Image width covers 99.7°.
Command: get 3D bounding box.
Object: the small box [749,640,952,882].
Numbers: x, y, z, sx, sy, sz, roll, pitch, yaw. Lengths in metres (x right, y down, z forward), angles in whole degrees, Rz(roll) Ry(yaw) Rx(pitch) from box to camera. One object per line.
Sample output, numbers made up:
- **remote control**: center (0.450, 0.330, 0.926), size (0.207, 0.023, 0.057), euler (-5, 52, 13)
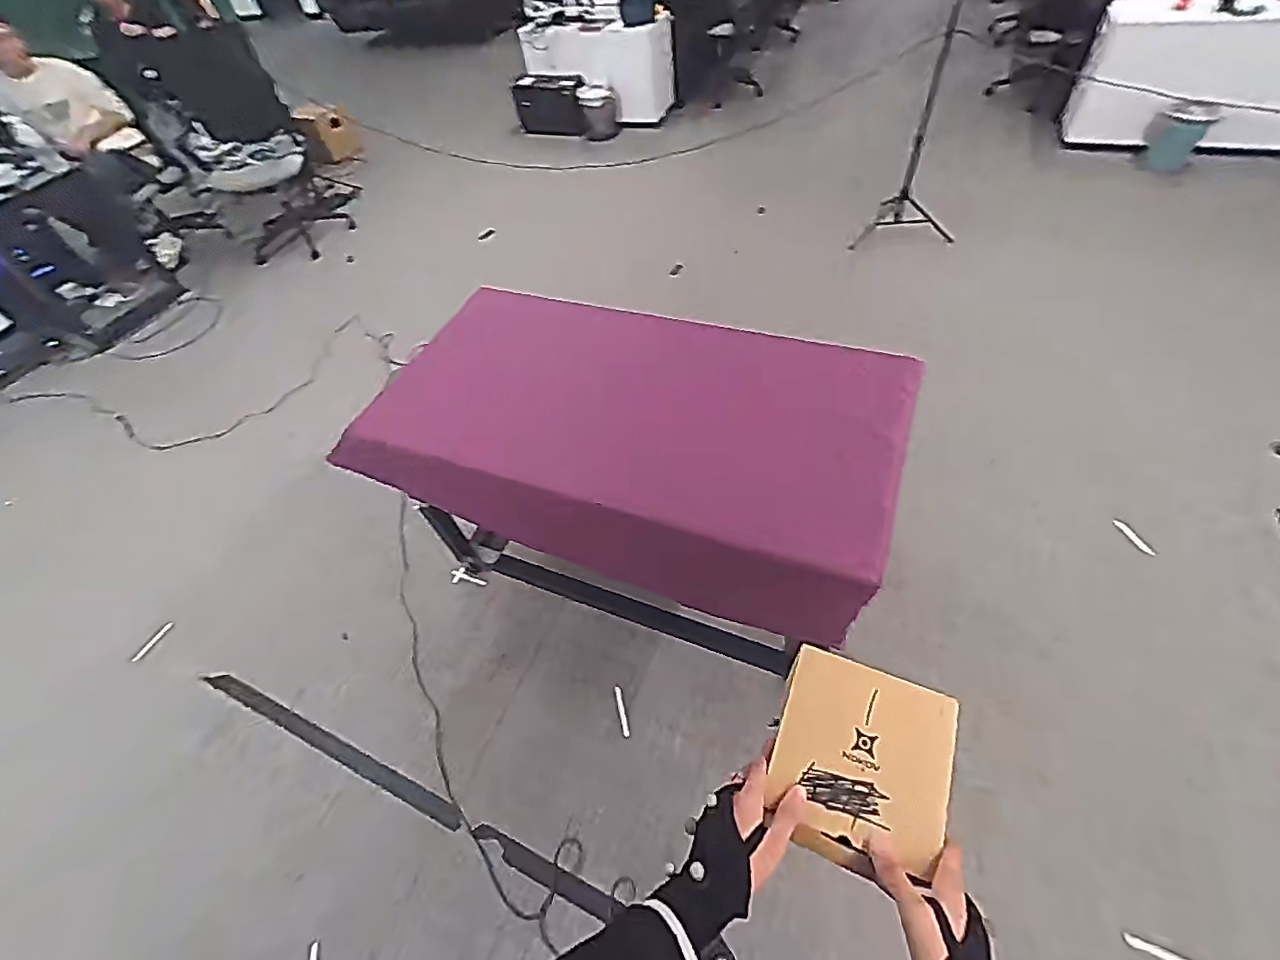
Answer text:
- **small box**: center (0.225, 0.314, 0.609), size (0.168, 0.176, 0.179), euler (16, 58, 17)
